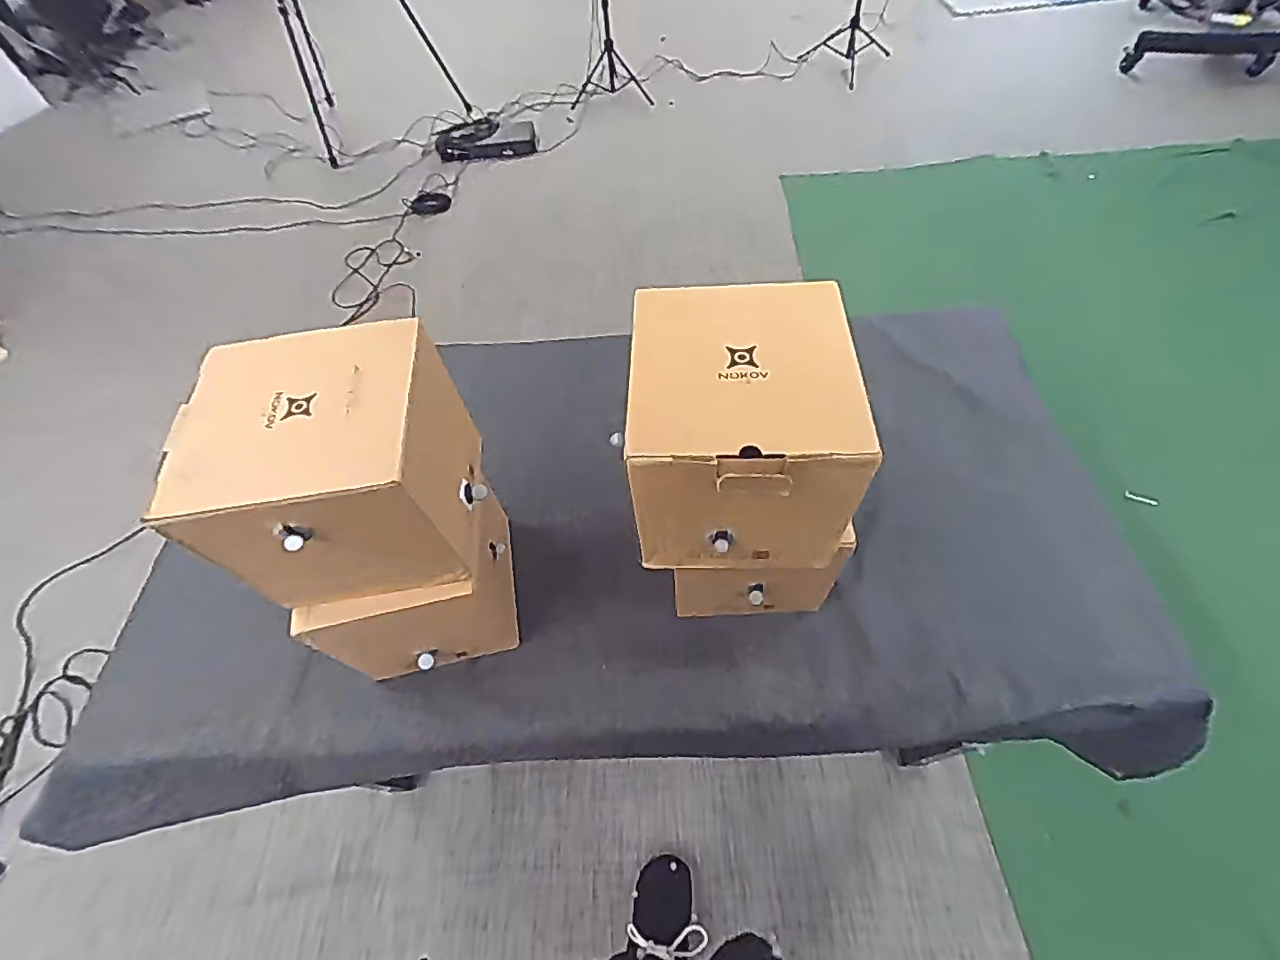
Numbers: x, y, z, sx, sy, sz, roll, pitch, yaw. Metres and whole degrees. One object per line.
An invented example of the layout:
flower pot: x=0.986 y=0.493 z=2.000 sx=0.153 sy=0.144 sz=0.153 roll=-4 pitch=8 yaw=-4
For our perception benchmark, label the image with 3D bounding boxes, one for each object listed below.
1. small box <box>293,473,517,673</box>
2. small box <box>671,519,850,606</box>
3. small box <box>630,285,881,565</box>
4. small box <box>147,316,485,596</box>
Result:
small box: x=-0.240 y=0.090 z=0.595 sx=0.168 sy=0.176 sz=0.179 roll=-12 pitch=57 yaw=-4
small box: x=0.116 y=0.035 z=0.606 sx=0.168 sy=0.176 sz=0.179 roll=-4 pitch=57 yaw=2
small box: x=0.081 y=-0.043 z=0.464 sx=0.168 sy=0.176 sz=0.179 roll=-1 pitch=57 yaw=4
small box: x=-0.247 y=-0.012 z=0.468 sx=0.179 sy=0.176 sz=0.168 roll=-8 pitch=58 yaw=-3
